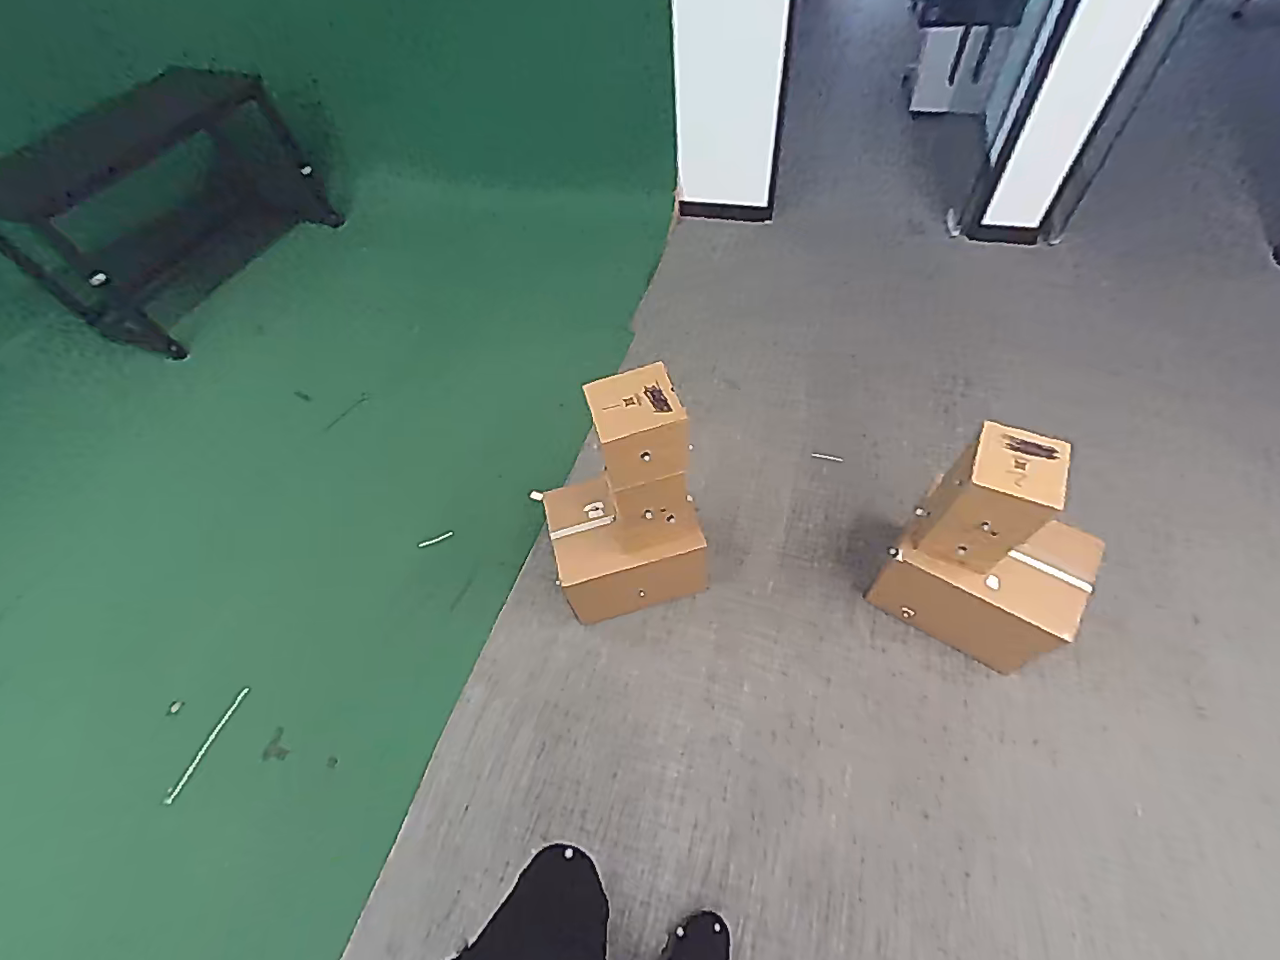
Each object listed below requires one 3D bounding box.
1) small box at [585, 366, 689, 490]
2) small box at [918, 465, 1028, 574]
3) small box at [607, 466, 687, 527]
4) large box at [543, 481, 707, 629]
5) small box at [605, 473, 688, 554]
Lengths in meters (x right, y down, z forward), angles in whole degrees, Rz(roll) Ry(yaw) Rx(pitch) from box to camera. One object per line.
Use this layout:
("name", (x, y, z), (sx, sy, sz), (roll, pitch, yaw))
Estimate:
("small box", (-0.003, -0.106, 1.132), (0.179, 0.176, 0.168), (-17, 56, -3))
("small box", (0.793, 0.101, 1.303), (0.168, 0.176, 0.179), (22, 62, 19))
("small box", (0.008, -0.017, 1.269), (0.168, 0.176, 0.179), (-15, 56, -3))
("large box", (-0.037, 0.203, 1.620), (0.408, 0.320, 0.320), (-16, 54, -4))
("small box", (0.018, 0.069, 1.406), (0.179, 0.176, 0.168), (-16, 55, -5))
